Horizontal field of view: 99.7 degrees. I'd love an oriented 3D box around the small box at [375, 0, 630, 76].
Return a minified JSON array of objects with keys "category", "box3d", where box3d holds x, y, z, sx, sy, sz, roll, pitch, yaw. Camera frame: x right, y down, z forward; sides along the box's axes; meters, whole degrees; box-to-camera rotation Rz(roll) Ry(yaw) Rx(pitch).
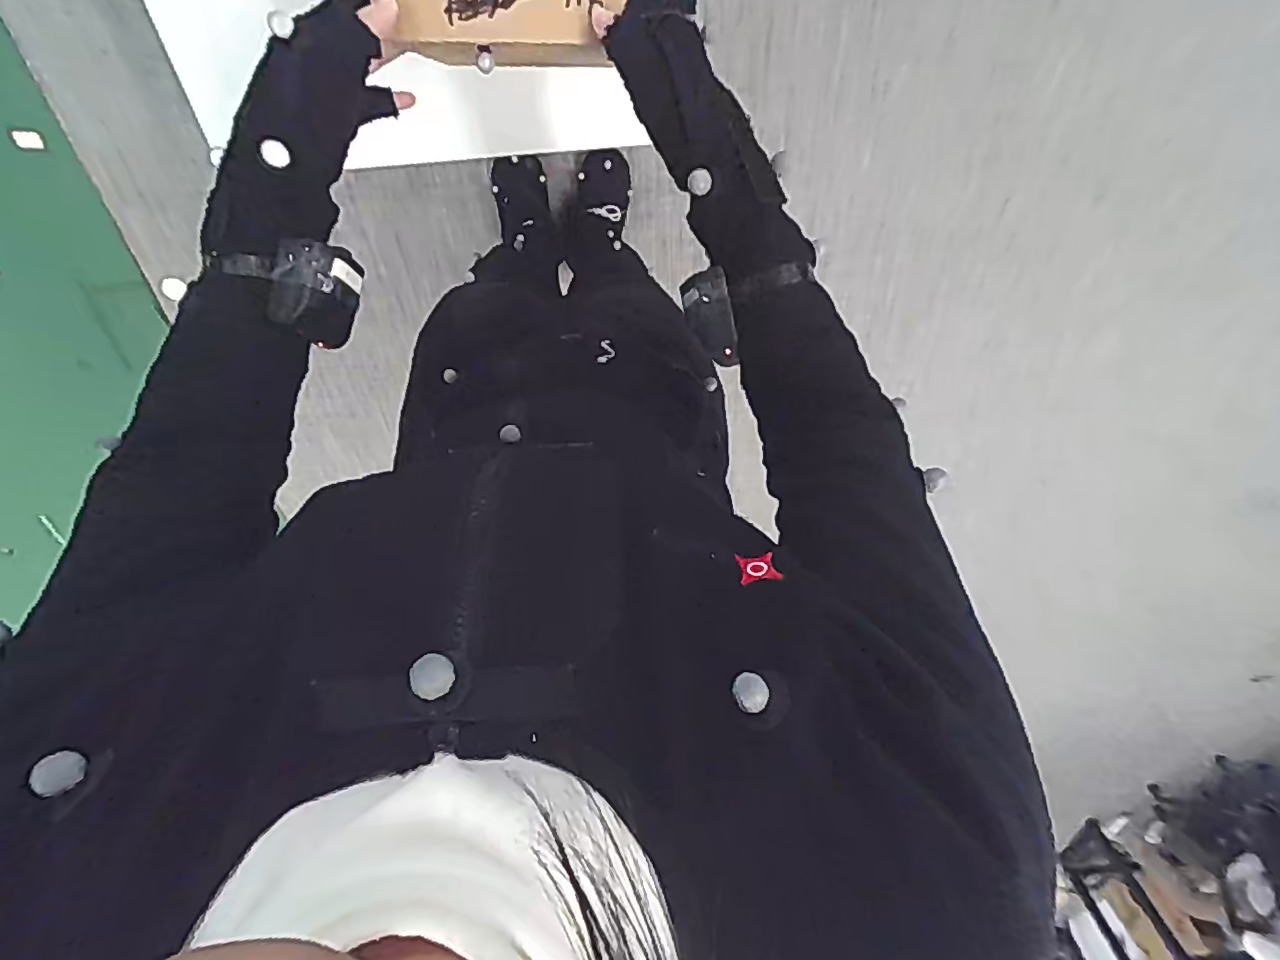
[{"category":"small box","box3d":[-0.093,-0.405,0.384,0.168,0.176,0.179,-2,123,-2]}]
